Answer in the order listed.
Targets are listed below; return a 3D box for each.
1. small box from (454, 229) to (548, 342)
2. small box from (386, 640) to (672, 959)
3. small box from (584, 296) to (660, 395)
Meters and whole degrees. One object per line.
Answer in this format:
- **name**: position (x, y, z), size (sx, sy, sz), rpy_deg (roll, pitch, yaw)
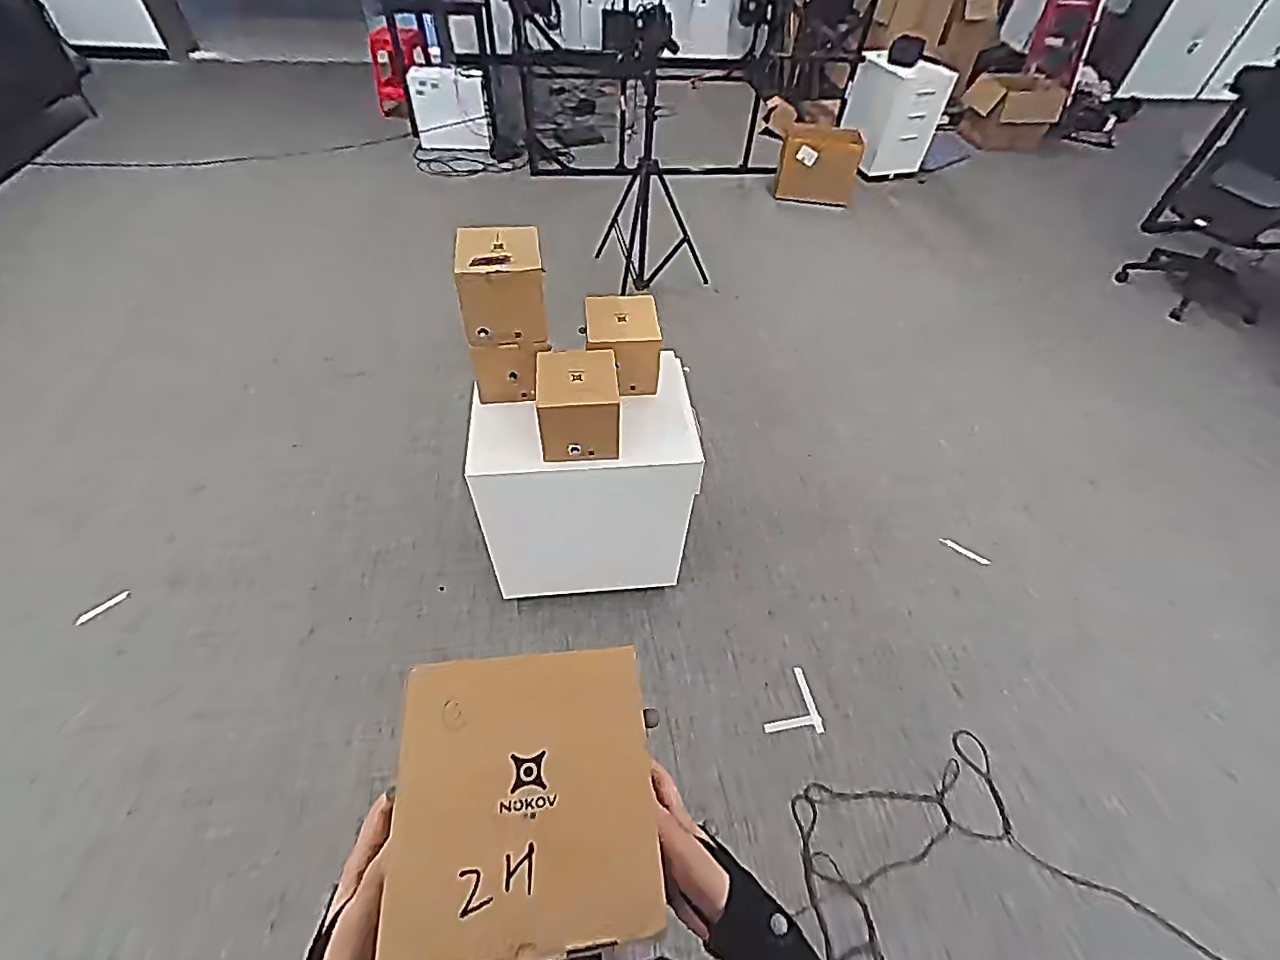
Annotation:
- **small box**: position (-0.289, -0.406, 1.145), size (0.168, 0.176, 0.179), rpy_deg (-6, 51, -9)
- **small box**: position (-0.079, 0.243, 0.422), size (0.168, 0.176, 0.179), rpy_deg (-2, 54, -9)
- **small box**: position (-0.046, -0.317, 1.302), size (0.168, 0.176, 0.179), rpy_deg (-4, 51, -6)
